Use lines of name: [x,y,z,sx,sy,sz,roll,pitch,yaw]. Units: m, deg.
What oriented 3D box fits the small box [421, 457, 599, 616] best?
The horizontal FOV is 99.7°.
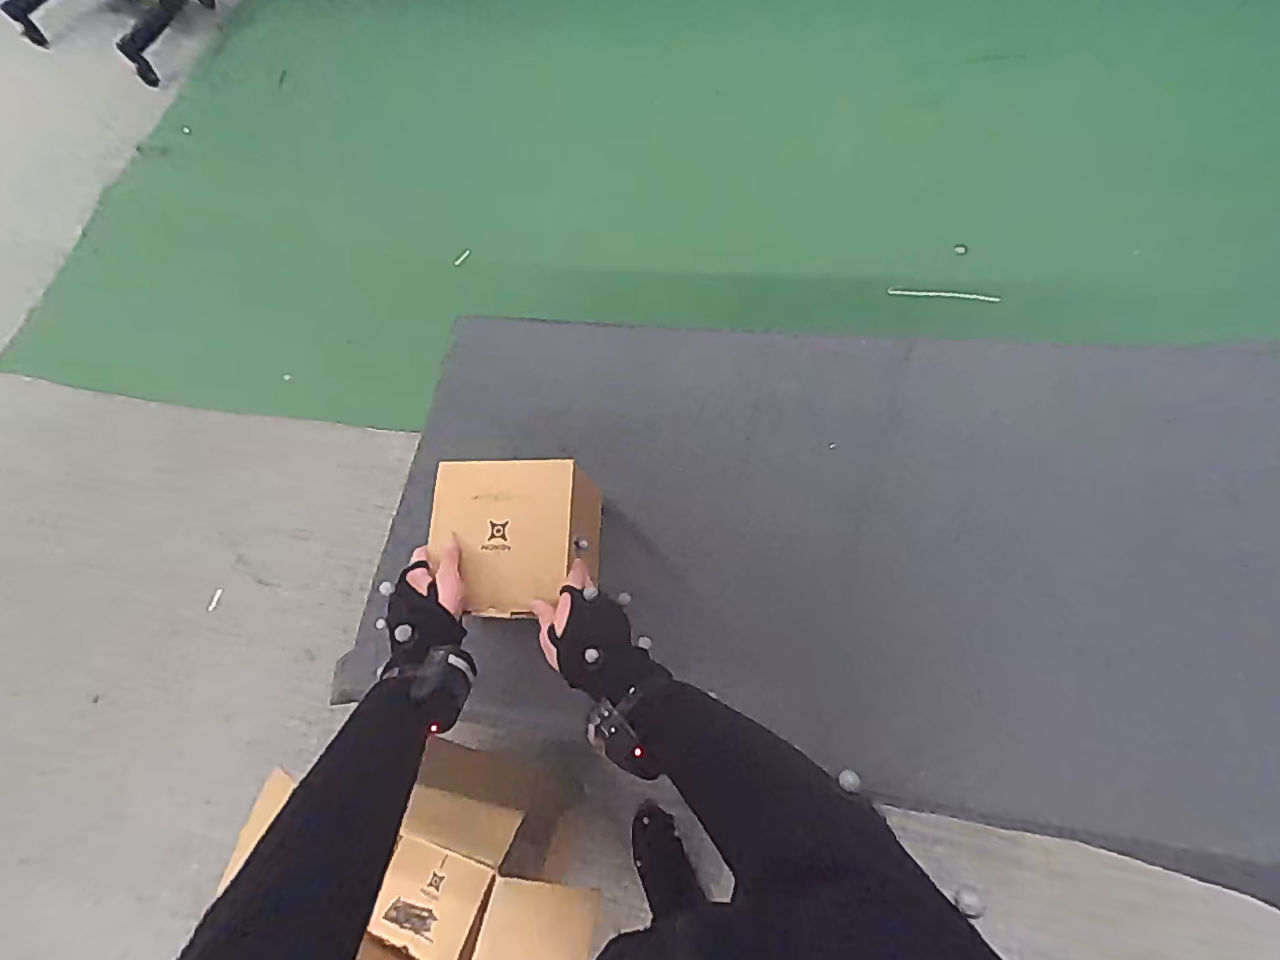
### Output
small box: [-0.150,0.080,0.686,0.168,0.176,0.179,-1,73,7]
